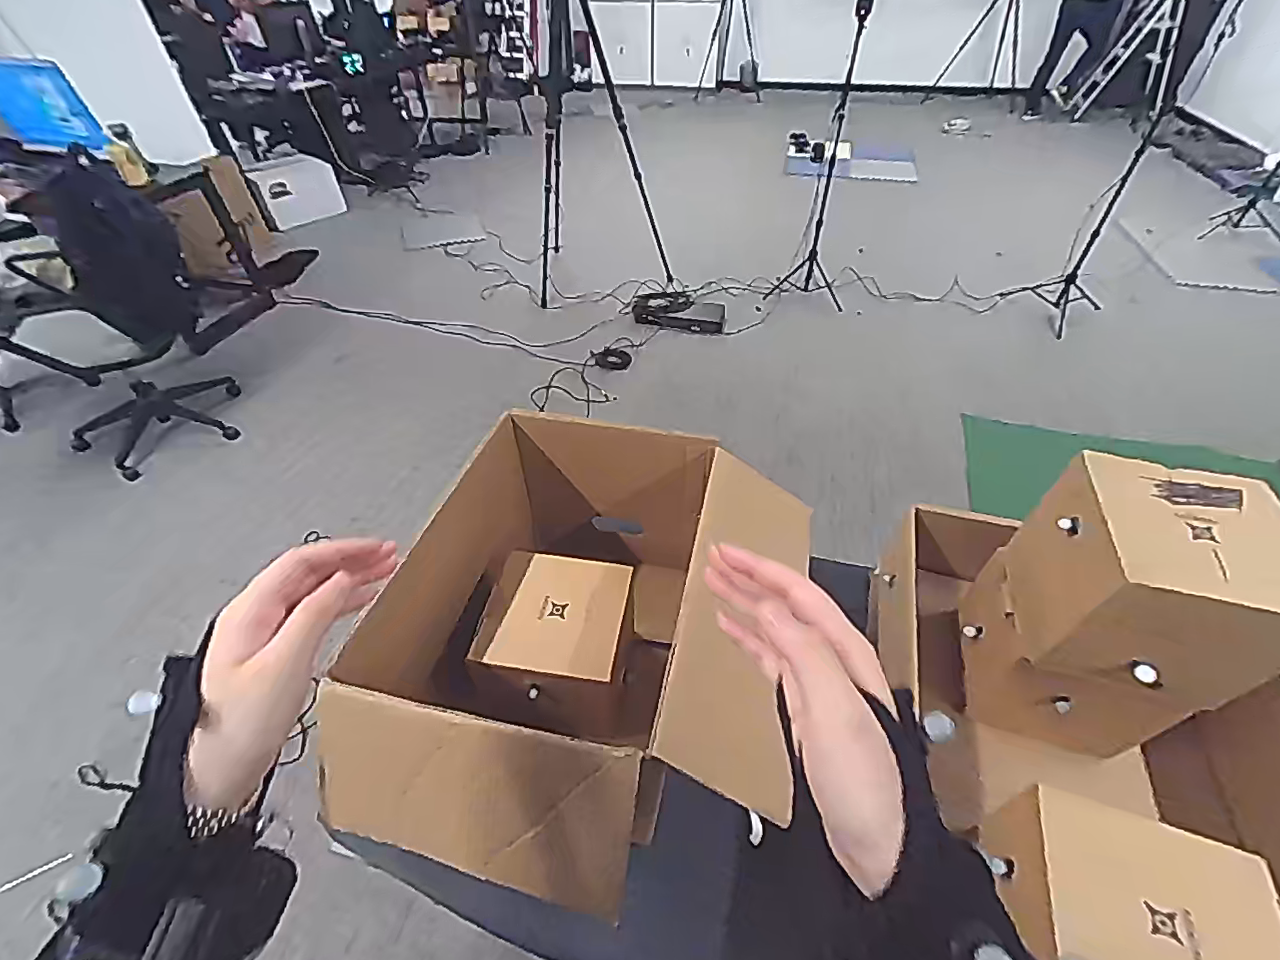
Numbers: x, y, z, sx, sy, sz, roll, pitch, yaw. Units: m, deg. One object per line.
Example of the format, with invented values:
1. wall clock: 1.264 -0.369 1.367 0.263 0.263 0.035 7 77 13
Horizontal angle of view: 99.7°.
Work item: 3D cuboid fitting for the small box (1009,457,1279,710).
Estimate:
1. small box: 0.520 0.106 0.566 0.168 0.176 0.179 12 48 13
